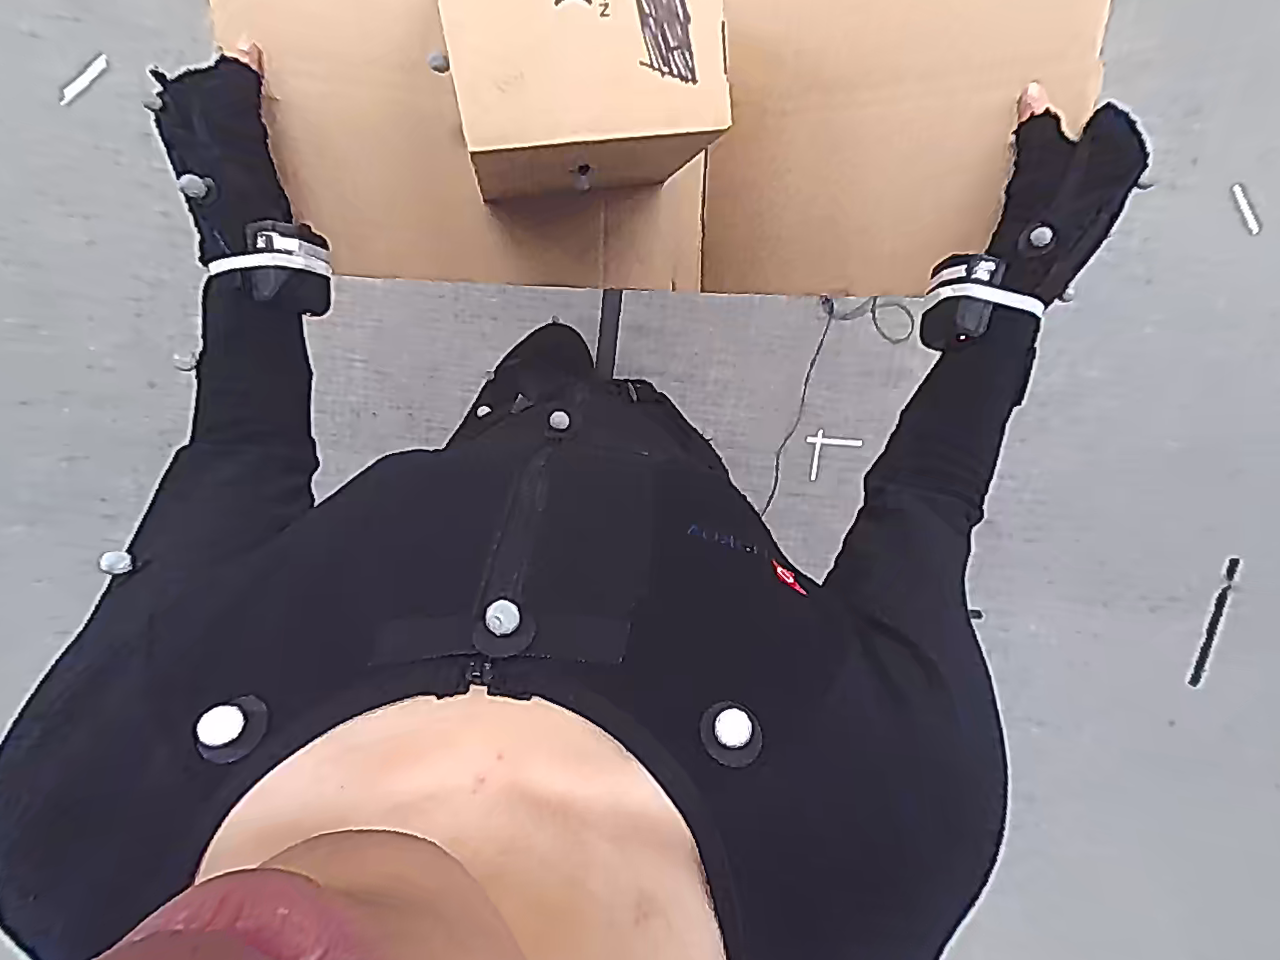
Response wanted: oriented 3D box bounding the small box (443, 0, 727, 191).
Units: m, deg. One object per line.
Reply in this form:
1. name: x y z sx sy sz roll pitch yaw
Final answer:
1. small box: -0.050 -0.328 0.405 0.179 0.176 0.168 -11 110 -9
